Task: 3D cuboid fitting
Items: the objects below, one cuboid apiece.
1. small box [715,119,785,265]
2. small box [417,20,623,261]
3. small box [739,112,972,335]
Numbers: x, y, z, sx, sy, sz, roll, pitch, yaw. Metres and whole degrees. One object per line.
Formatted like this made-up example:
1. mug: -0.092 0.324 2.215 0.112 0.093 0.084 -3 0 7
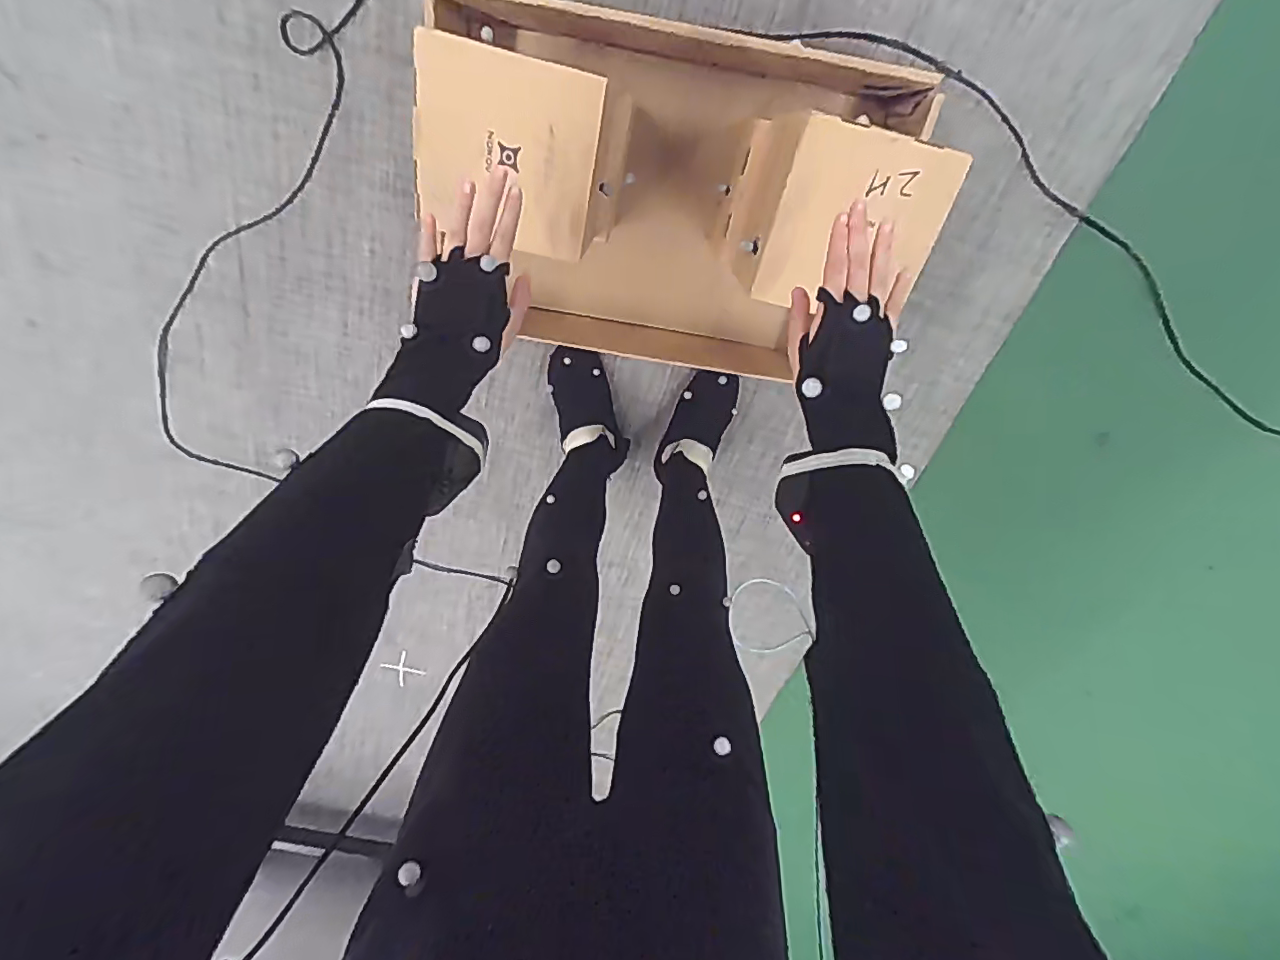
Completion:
1. small box: 0.211 -0.380 0.754 0.179 0.176 0.168 13 121 -5
2. small box: -0.123 -0.359 0.589 0.179 0.176 0.168 12 122 -7
3. small box: 0.220 -0.290 0.615 0.168 0.176 0.179 12 120 -6
